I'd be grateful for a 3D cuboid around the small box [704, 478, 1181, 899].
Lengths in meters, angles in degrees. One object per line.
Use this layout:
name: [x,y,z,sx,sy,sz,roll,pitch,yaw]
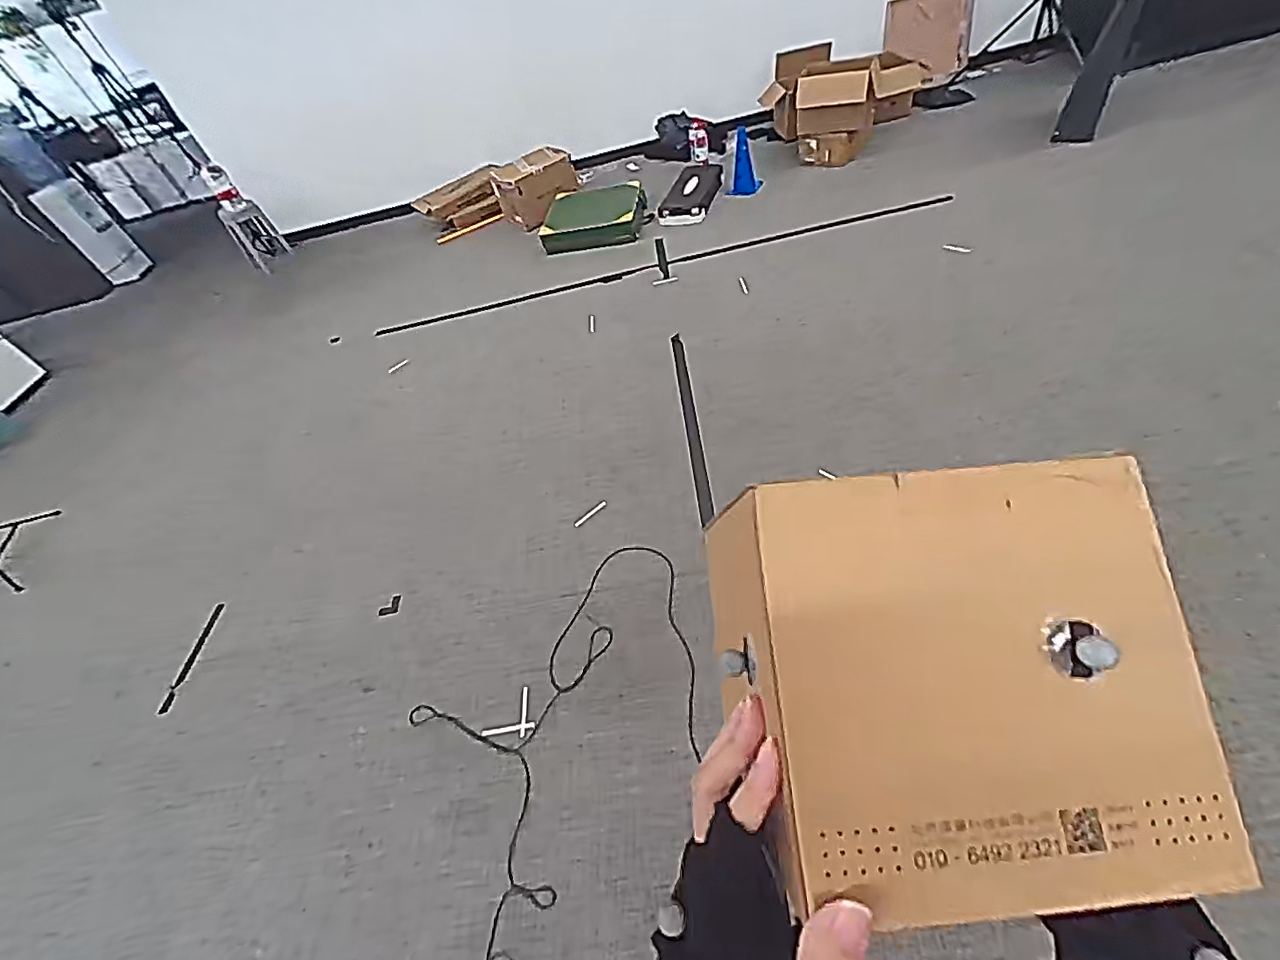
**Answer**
small box: [0.134,0.105,0.307,0.168,0.179,0.176,-5,78,0]
